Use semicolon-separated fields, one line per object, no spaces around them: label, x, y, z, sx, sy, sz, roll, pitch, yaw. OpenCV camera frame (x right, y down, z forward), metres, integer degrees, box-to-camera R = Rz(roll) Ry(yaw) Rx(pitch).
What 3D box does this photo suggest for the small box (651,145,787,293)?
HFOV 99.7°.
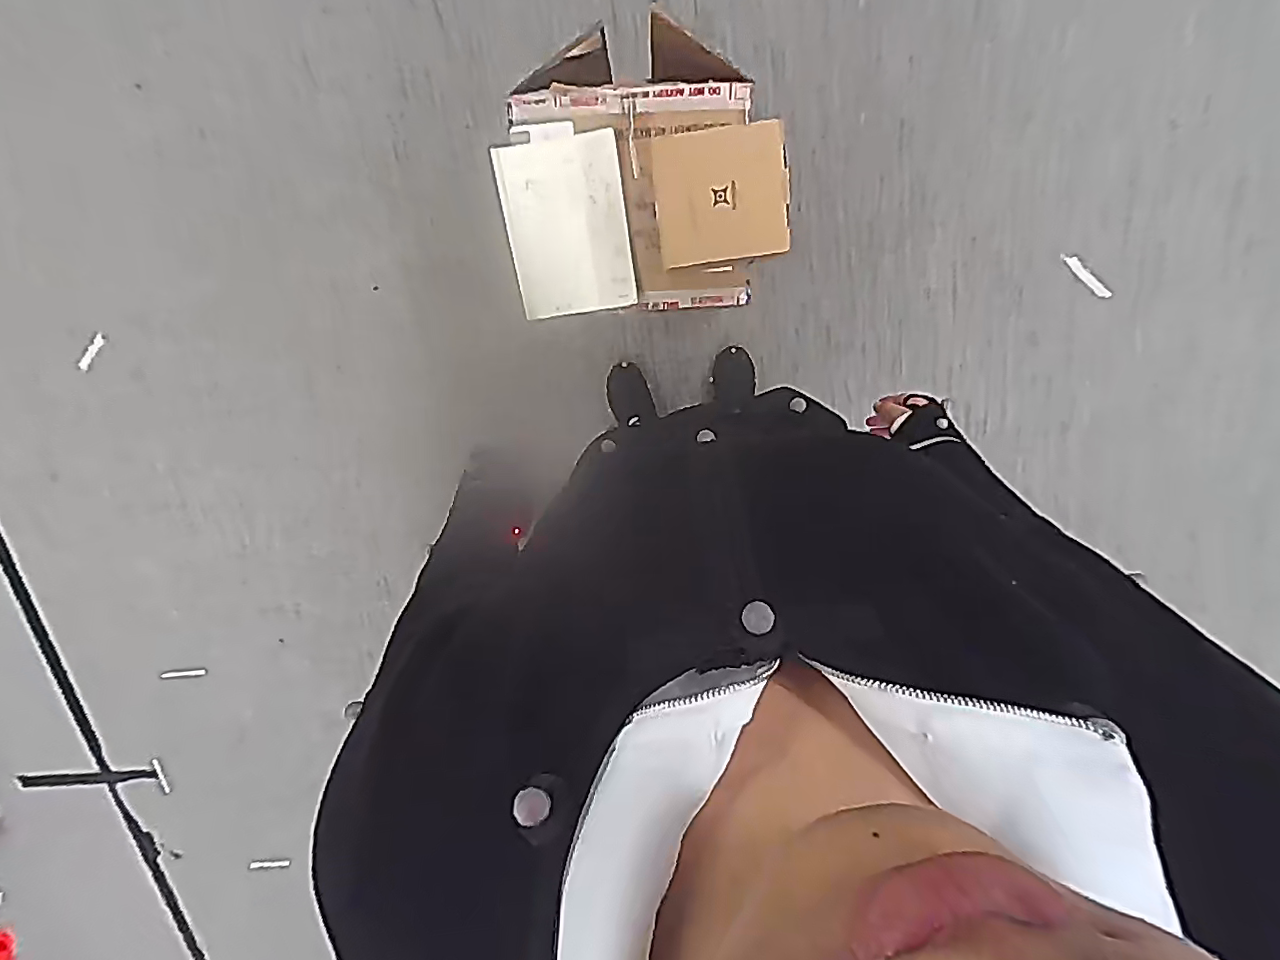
small box;0.114;-0.386;0.828;0.179;0.176;0.168;-8;106;3
